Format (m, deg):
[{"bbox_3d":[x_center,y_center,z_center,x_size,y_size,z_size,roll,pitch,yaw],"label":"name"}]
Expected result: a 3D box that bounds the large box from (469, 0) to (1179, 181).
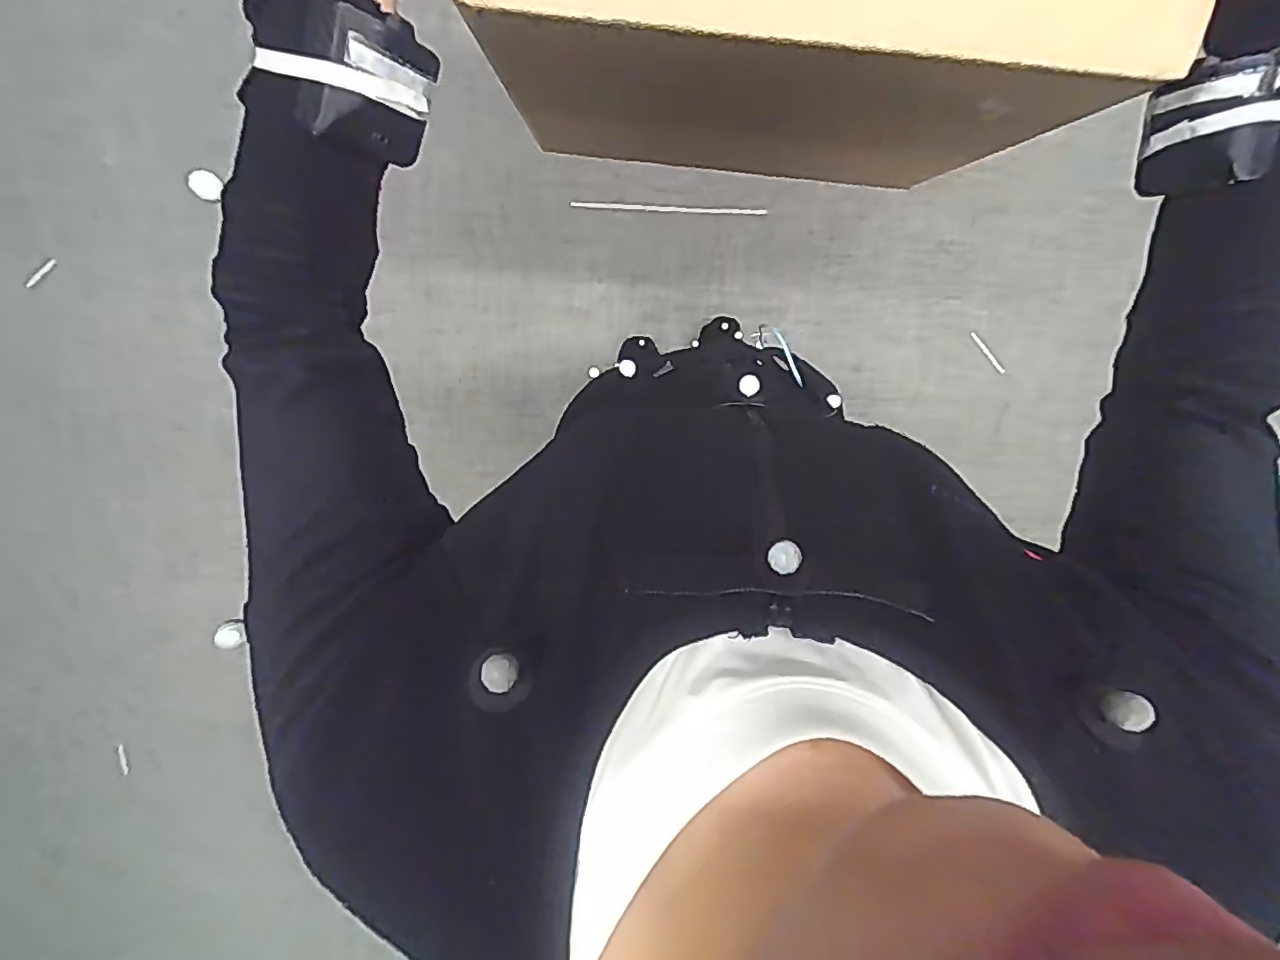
[{"bbox_3d":[0.106,-0.435,0.401,0.408,0.320,0.320,4,109,-2],"label":"large box"}]
